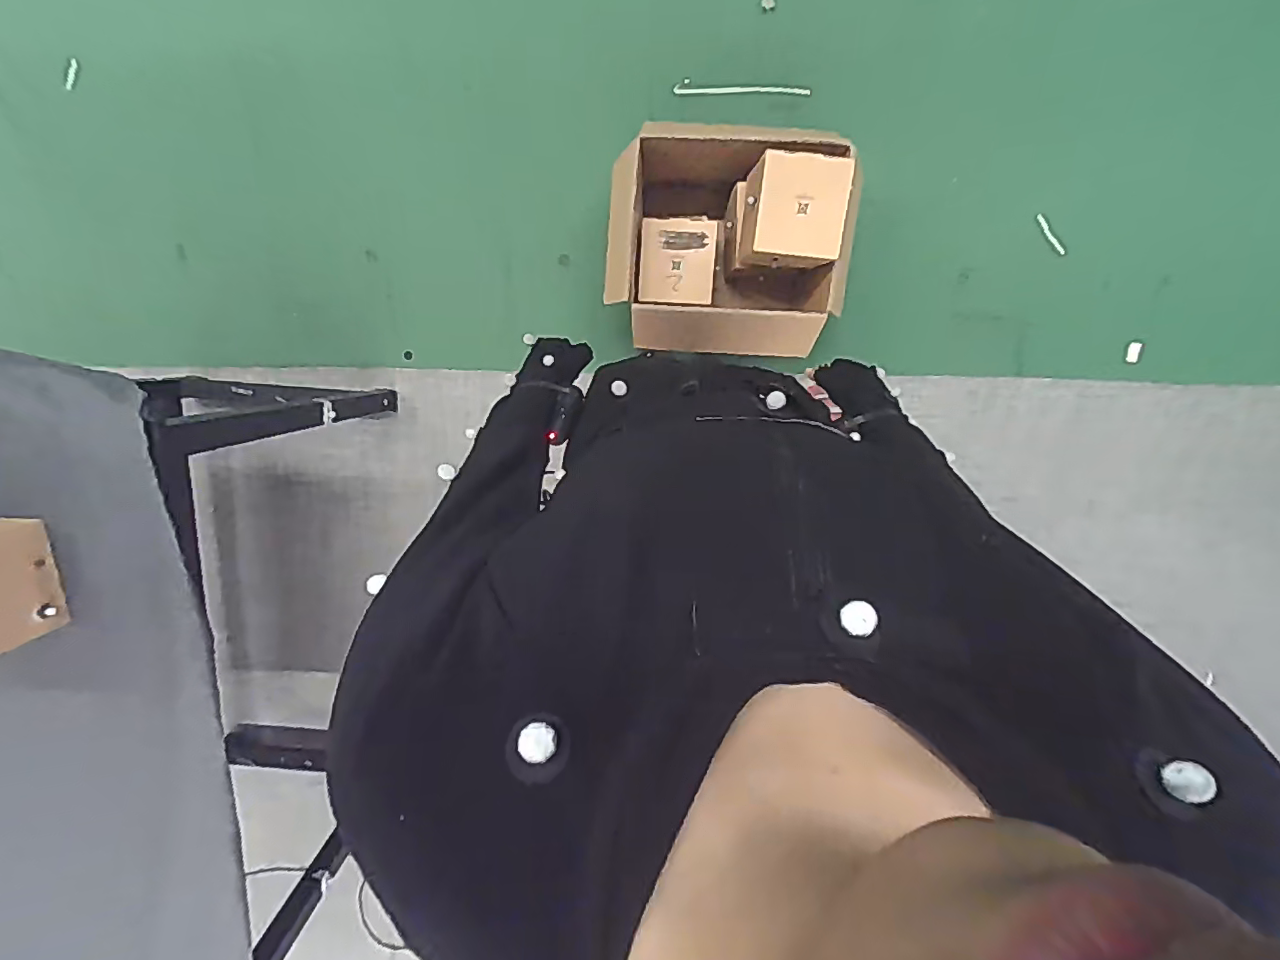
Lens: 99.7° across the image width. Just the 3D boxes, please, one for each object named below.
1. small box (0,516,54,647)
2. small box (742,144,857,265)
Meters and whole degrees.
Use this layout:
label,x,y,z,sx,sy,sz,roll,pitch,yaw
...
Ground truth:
label,x,y,z,sx,sy,sz,roll,pitch,yaw
small box,-0.948,0.147,0.717,0.179,0.176,0.168,1,104,3
small box,0.302,-0.530,1.066,0.168,0.176,0.179,5,104,-1
